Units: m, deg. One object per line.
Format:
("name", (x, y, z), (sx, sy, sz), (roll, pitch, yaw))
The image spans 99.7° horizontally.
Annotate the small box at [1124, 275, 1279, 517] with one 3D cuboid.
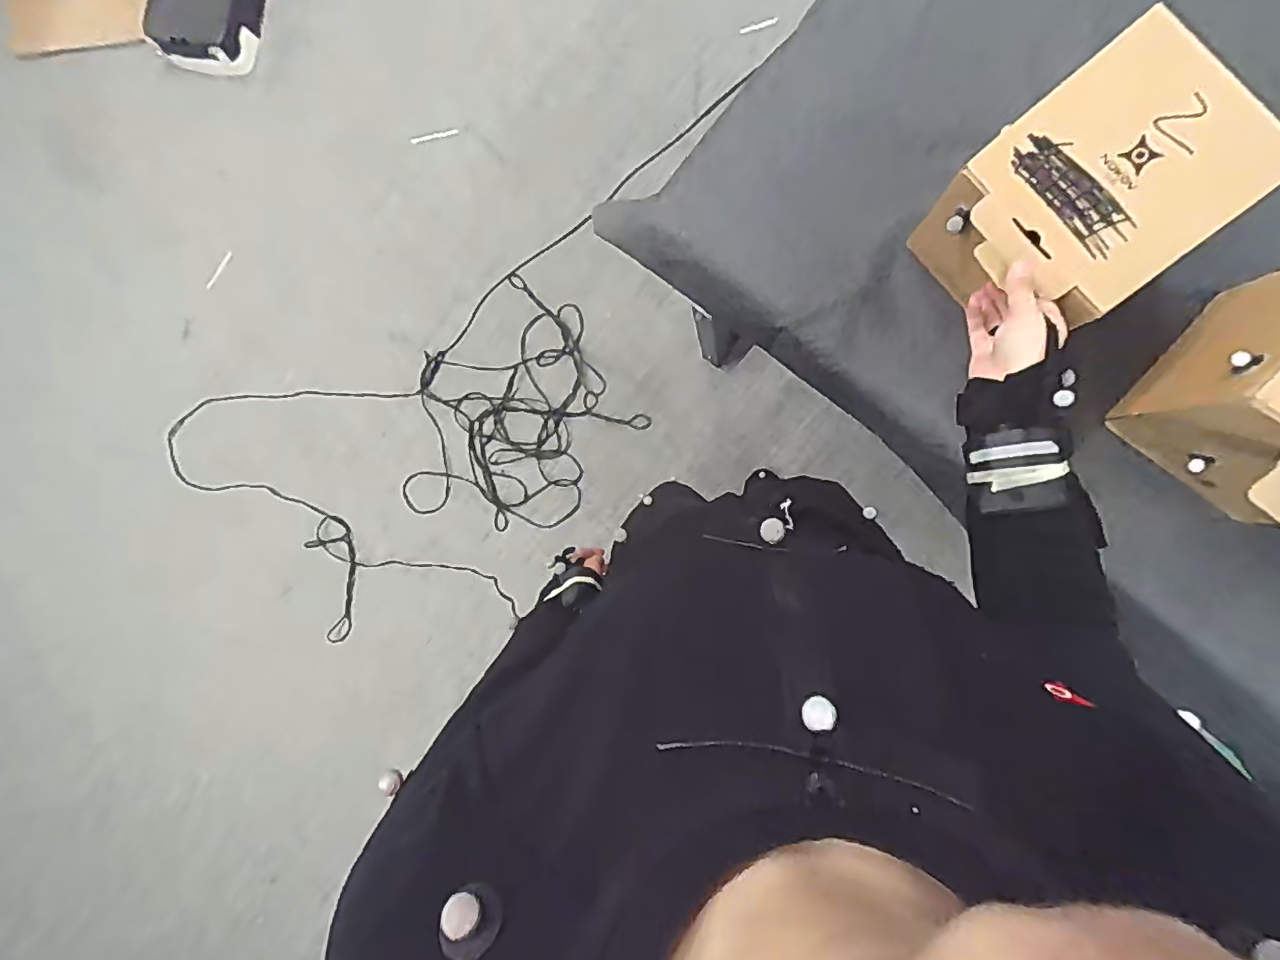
("small box", (0.596, -0.079, 0.469), (0.168, 0.176, 0.179), (39, 96, 6))
